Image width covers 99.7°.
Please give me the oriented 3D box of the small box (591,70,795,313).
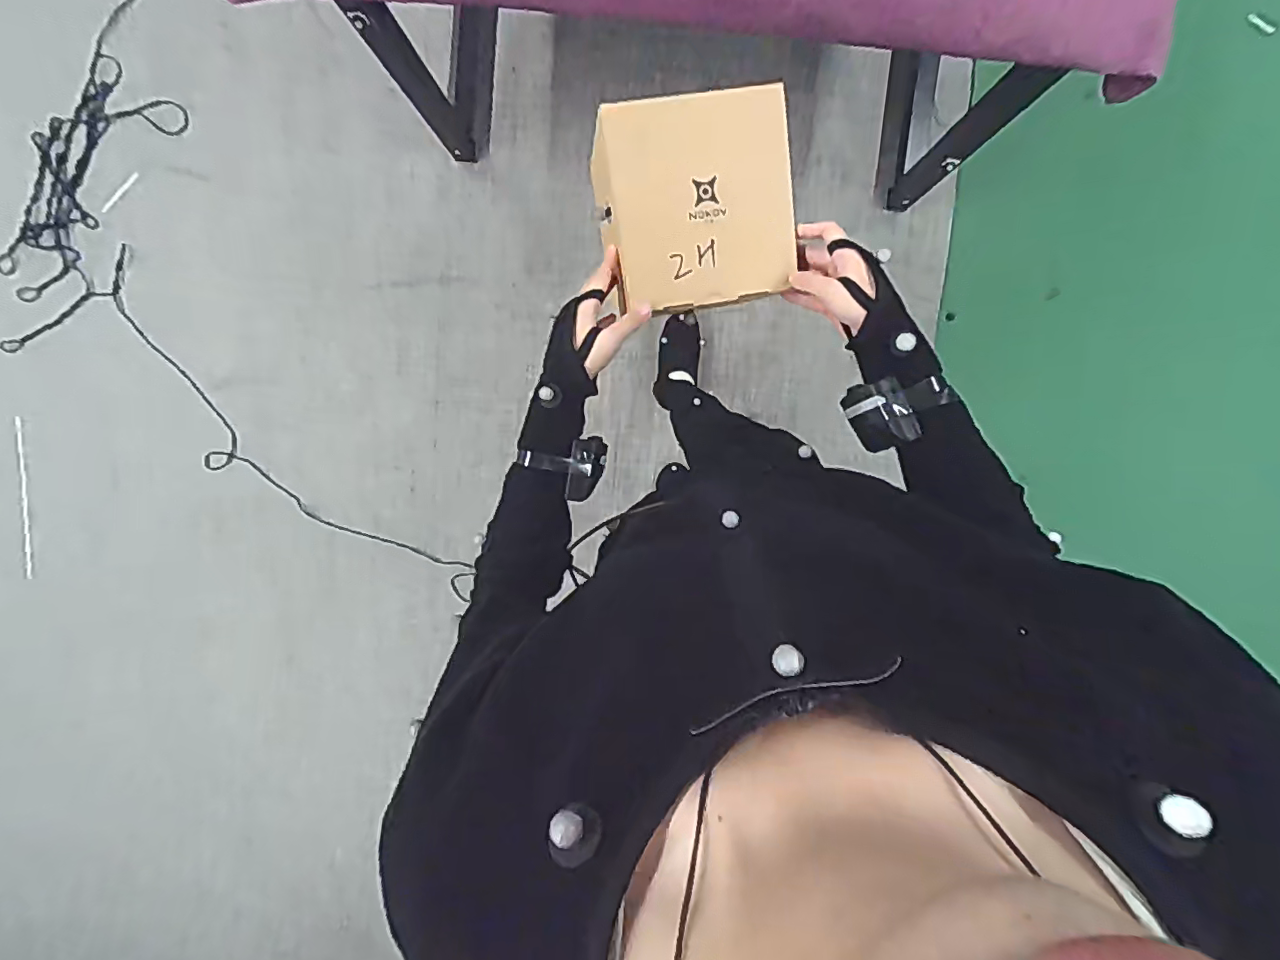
[{"bbox_3d":[0.045,-0.278,0.559,0.168,0.176,0.179,-10,105,-5],"label":"small box"}]
